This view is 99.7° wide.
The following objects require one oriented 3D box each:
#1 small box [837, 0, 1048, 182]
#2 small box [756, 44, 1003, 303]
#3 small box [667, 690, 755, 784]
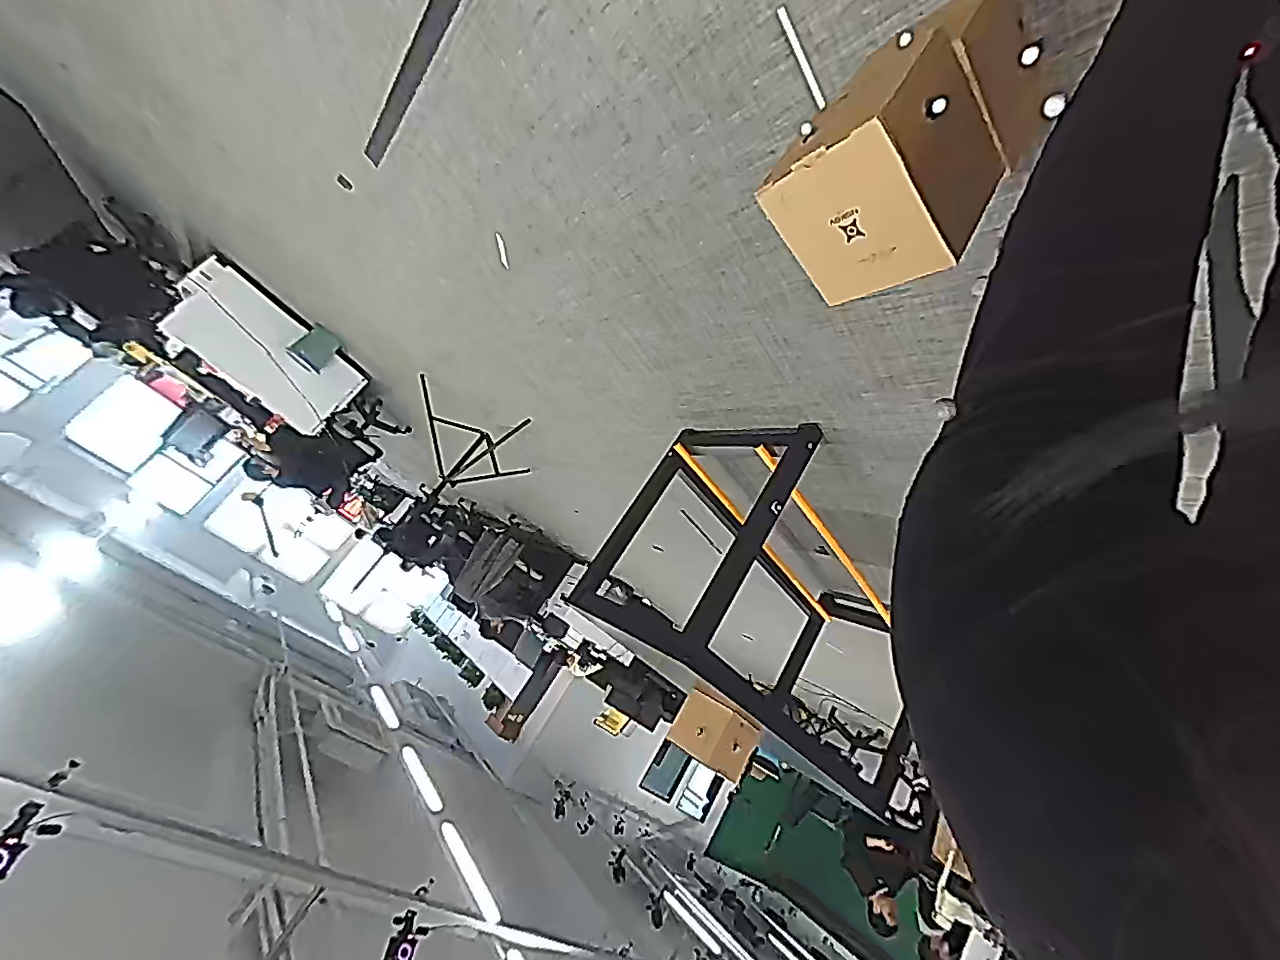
[{"bbox_3d":[0.367,-0.463,0.676,0.168,0.176,0.179,44,158,-27],"label":"small box"},{"bbox_3d":[0.274,-0.343,0.617,0.179,0.176,0.168,42,161,-24],"label":"small box"},{"bbox_3d":[0.219,0.753,1.600,0.179,0.176,0.168,8,148,52],"label":"small box"}]
